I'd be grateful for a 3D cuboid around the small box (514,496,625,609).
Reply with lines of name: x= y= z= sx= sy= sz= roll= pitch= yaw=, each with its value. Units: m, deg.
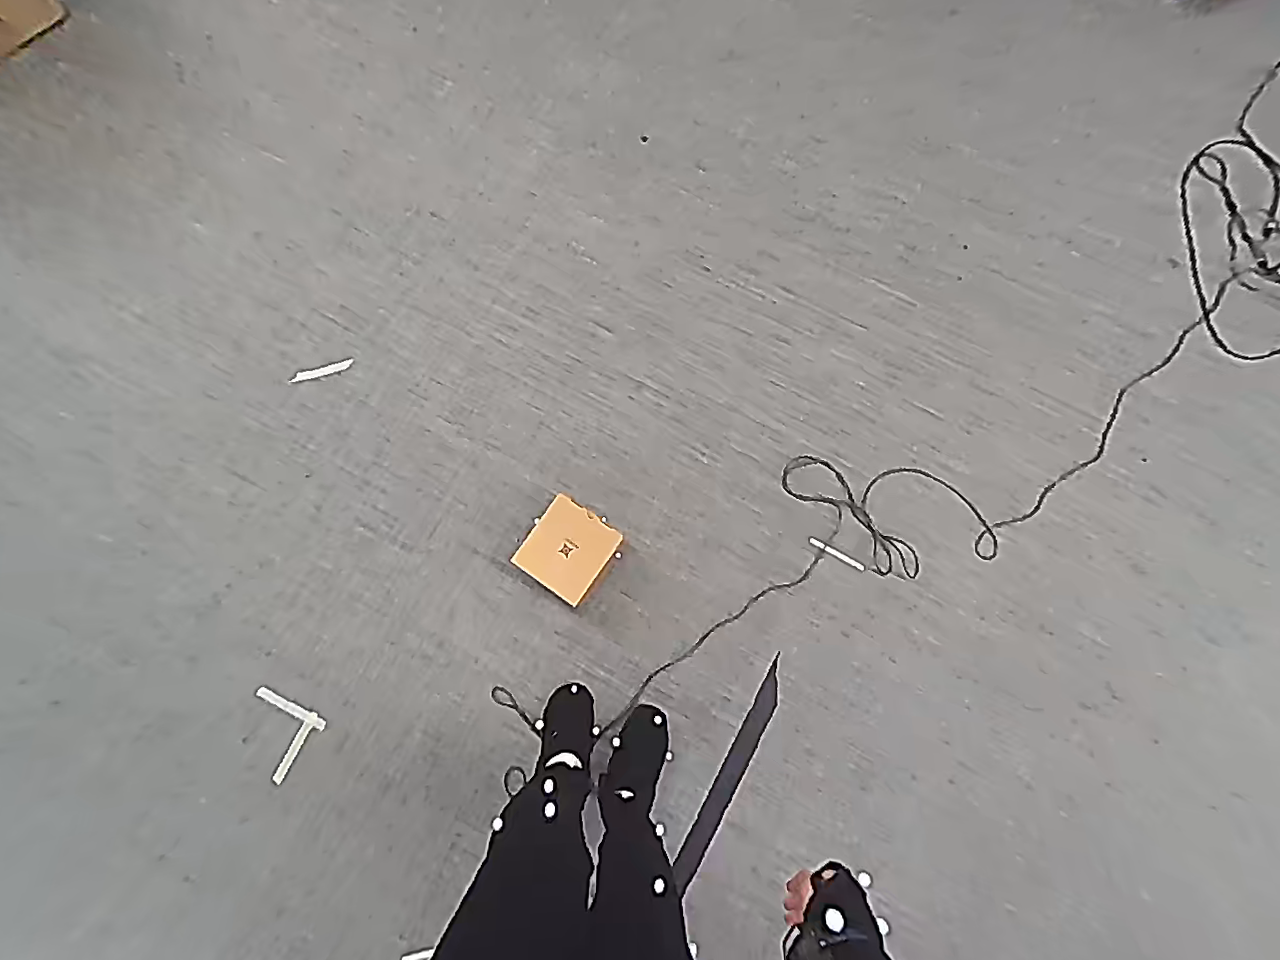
small box: x=-0.142 y=0.160 z=1.179 sx=0.168 sy=0.176 sz=0.179 roll=34 pitch=82 yaw=7
